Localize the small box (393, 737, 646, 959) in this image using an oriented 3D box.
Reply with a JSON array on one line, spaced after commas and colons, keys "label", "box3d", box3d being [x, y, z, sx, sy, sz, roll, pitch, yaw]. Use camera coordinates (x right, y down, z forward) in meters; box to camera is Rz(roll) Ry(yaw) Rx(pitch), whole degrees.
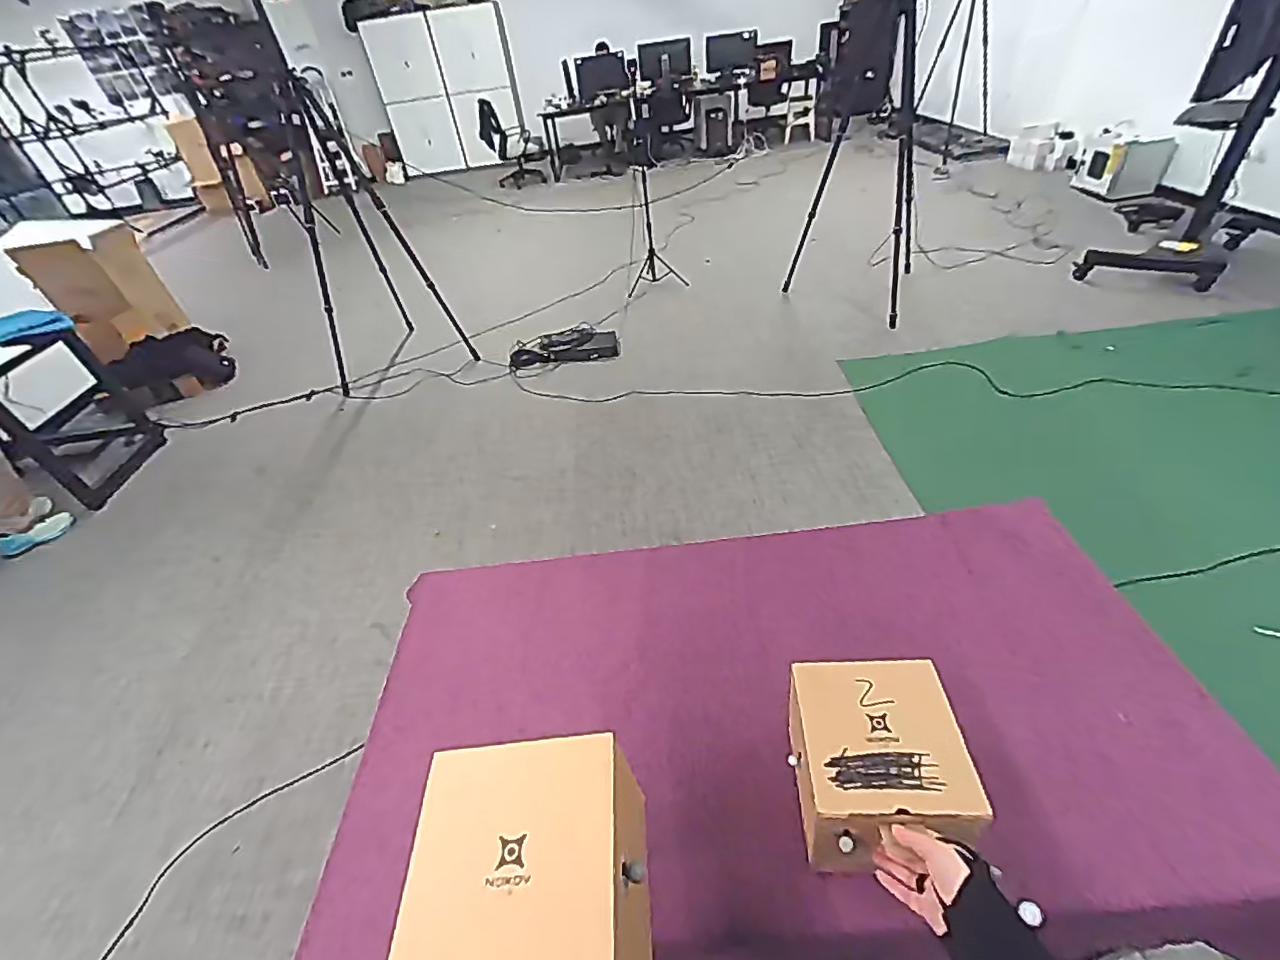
[{"label": "small box", "box3d": [-0.089, 0.357, 0.484, 0.168, 0.176, 0.179, -9, 44, 5]}]
